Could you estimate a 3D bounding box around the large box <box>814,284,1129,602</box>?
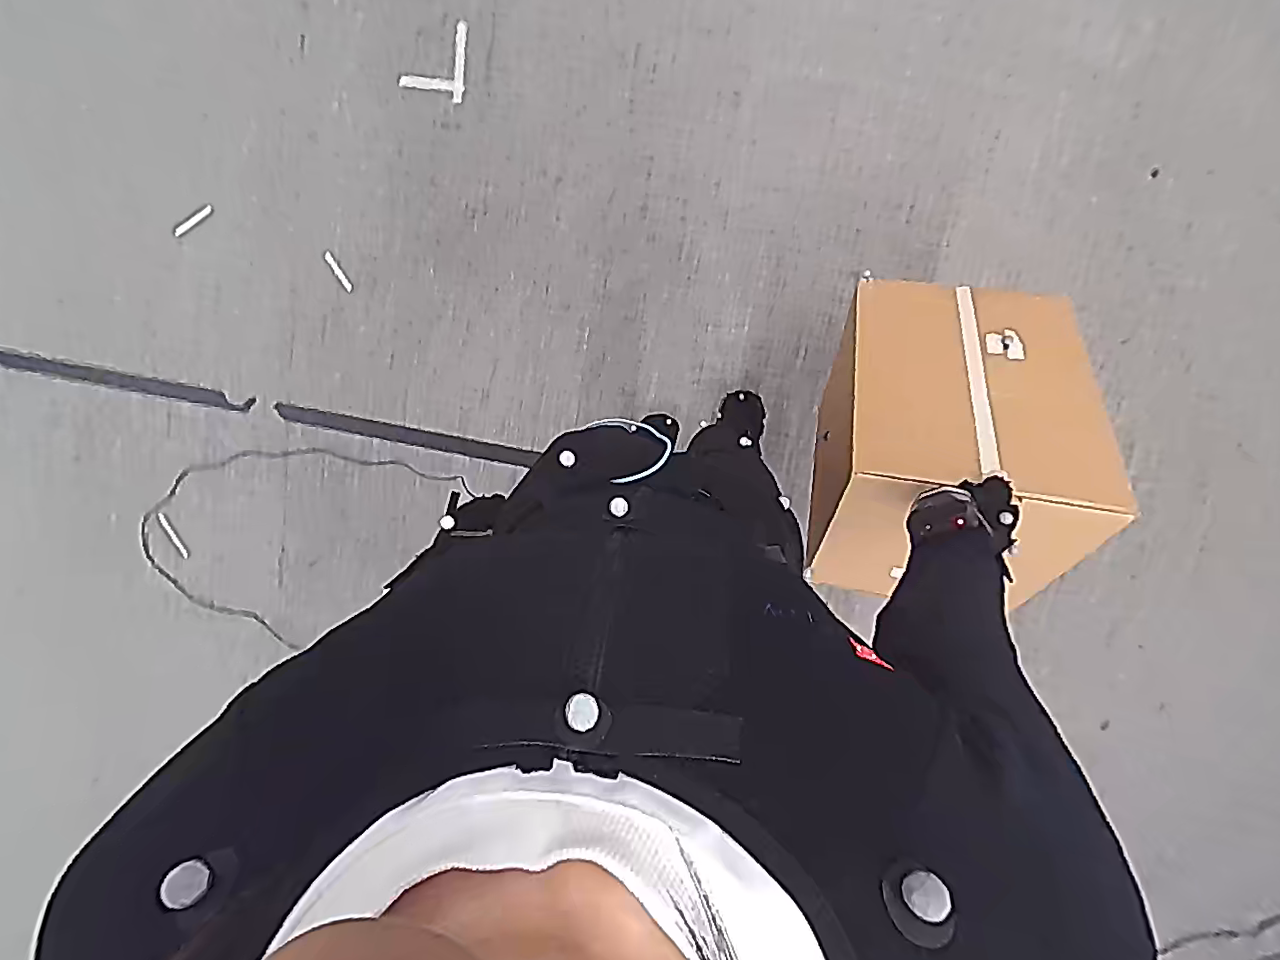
[{"bbox_3d":[0.471,-0.062,0.883,0.320,0.320,0.408,9,55,9],"label":"large box"}]
